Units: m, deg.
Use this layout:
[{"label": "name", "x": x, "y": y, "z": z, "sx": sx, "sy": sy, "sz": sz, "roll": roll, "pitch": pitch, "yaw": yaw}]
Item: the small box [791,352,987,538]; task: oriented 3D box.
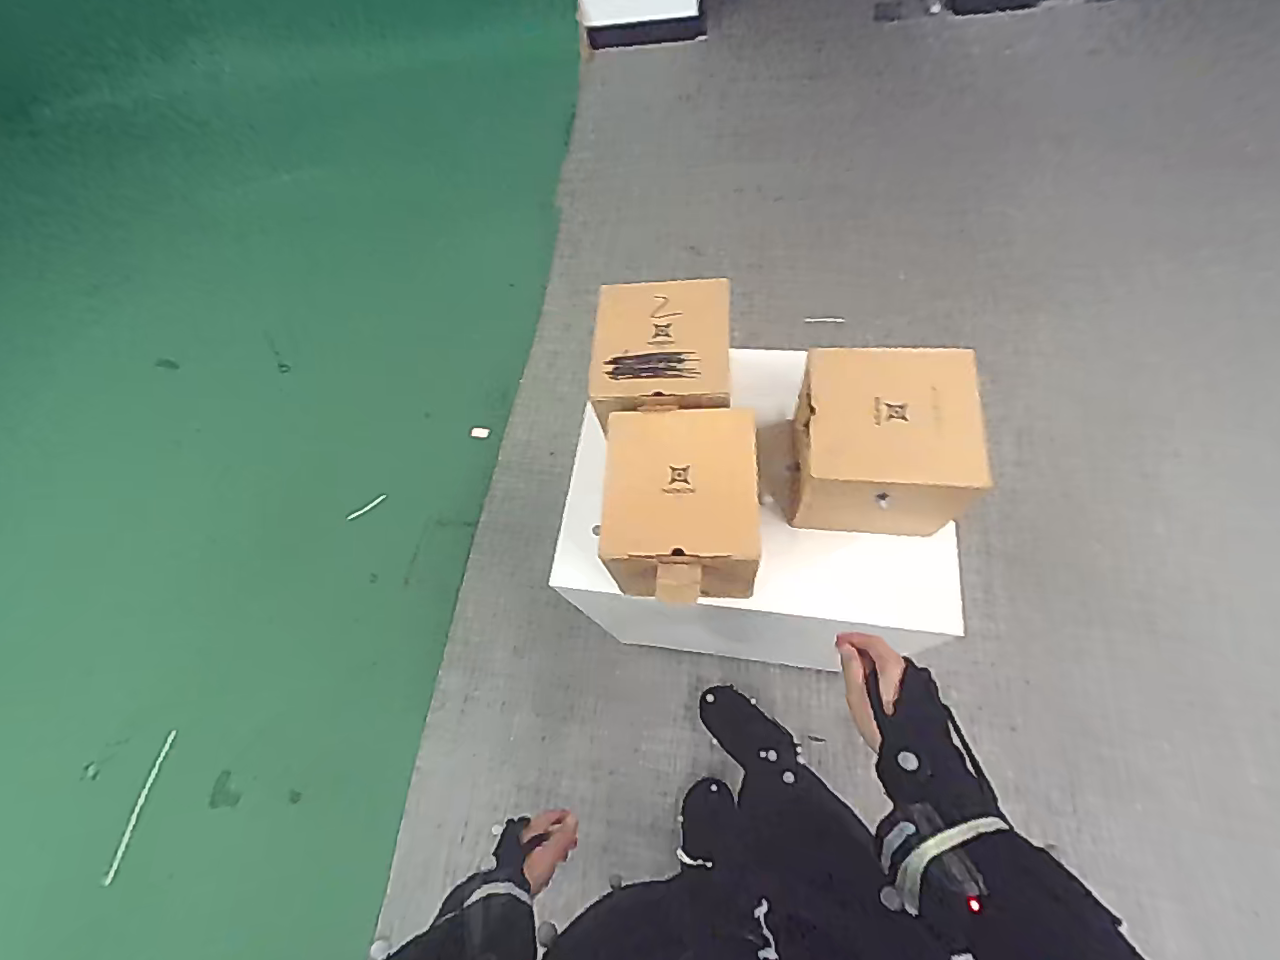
[{"label": "small box", "x": 0.278, "y": -0.035, "z": 0.648, "sx": 0.179, "sy": 0.176, "sz": 0.168, "roll": 3, "pitch": 68, "yaw": 10}]
